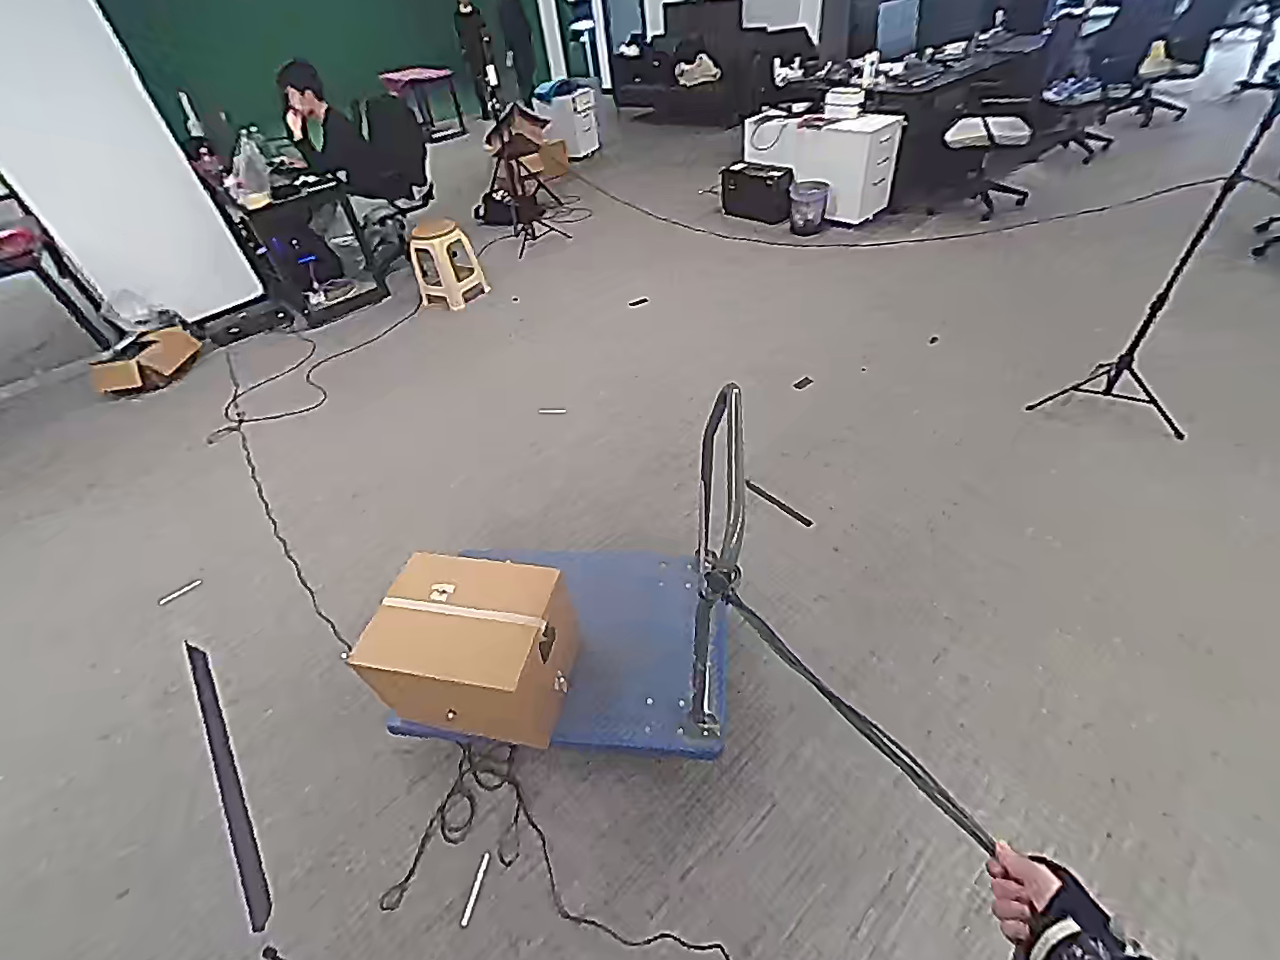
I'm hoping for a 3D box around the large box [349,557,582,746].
[{"bbox_3d":[-0.392,0.418,1.331,0.408,0.320,0.320,4,43,13],"label":"large box"}]
